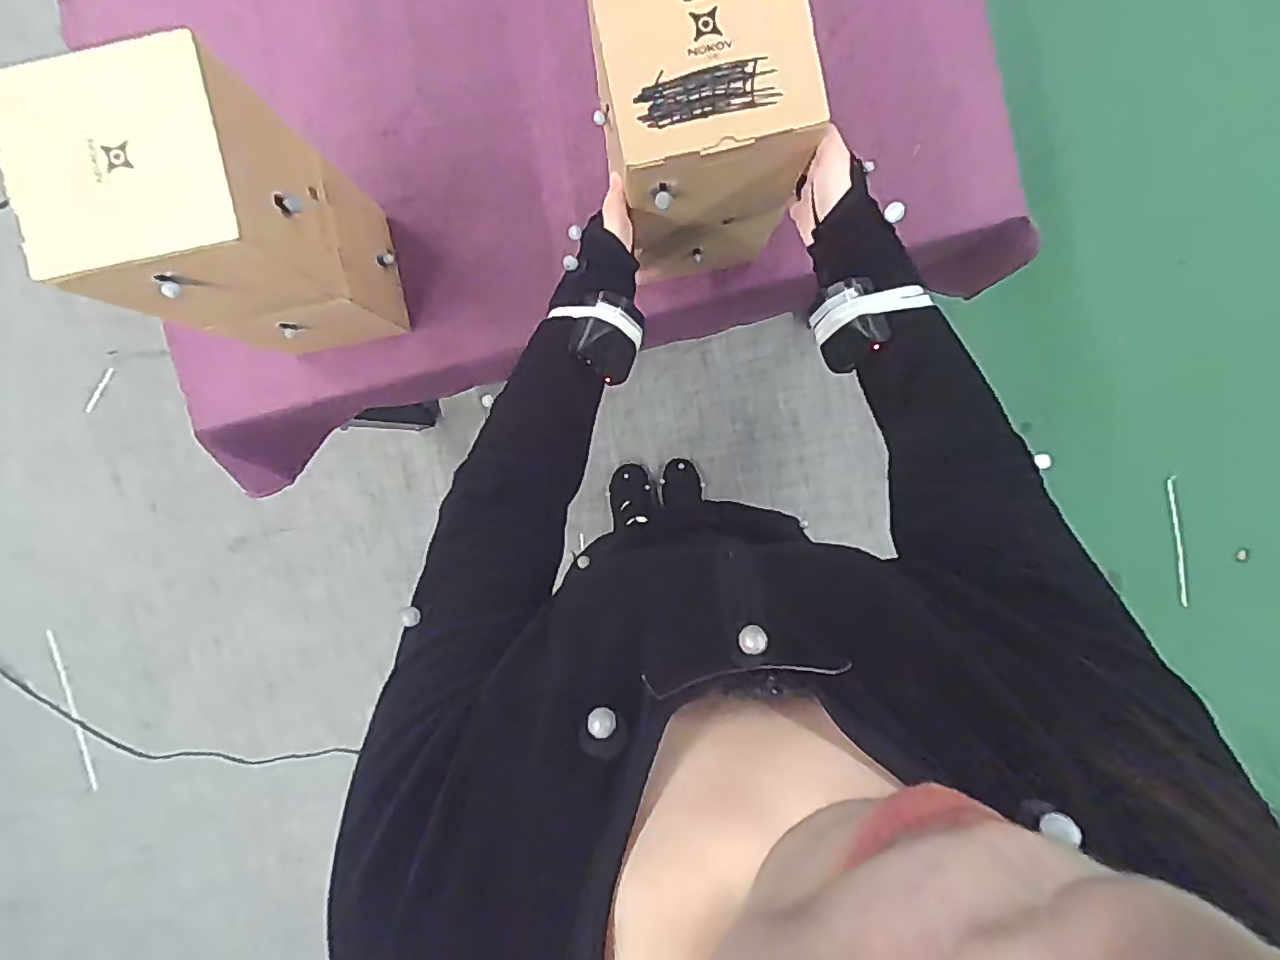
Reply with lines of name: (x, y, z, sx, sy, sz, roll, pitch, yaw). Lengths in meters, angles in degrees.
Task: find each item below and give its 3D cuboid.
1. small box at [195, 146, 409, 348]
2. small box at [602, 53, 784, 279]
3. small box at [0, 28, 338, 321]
small box: (-0.419, -0.270, 0.668, 0.179, 0.176, 0.168, -11, 94, 1)
small box: (0.058, -0.365, 0.662, 0.179, 0.176, 0.168, -11, 94, 2)
small box: (-0.414, -0.261, 0.505, 0.179, 0.176, 0.168, -11, 94, 2)
